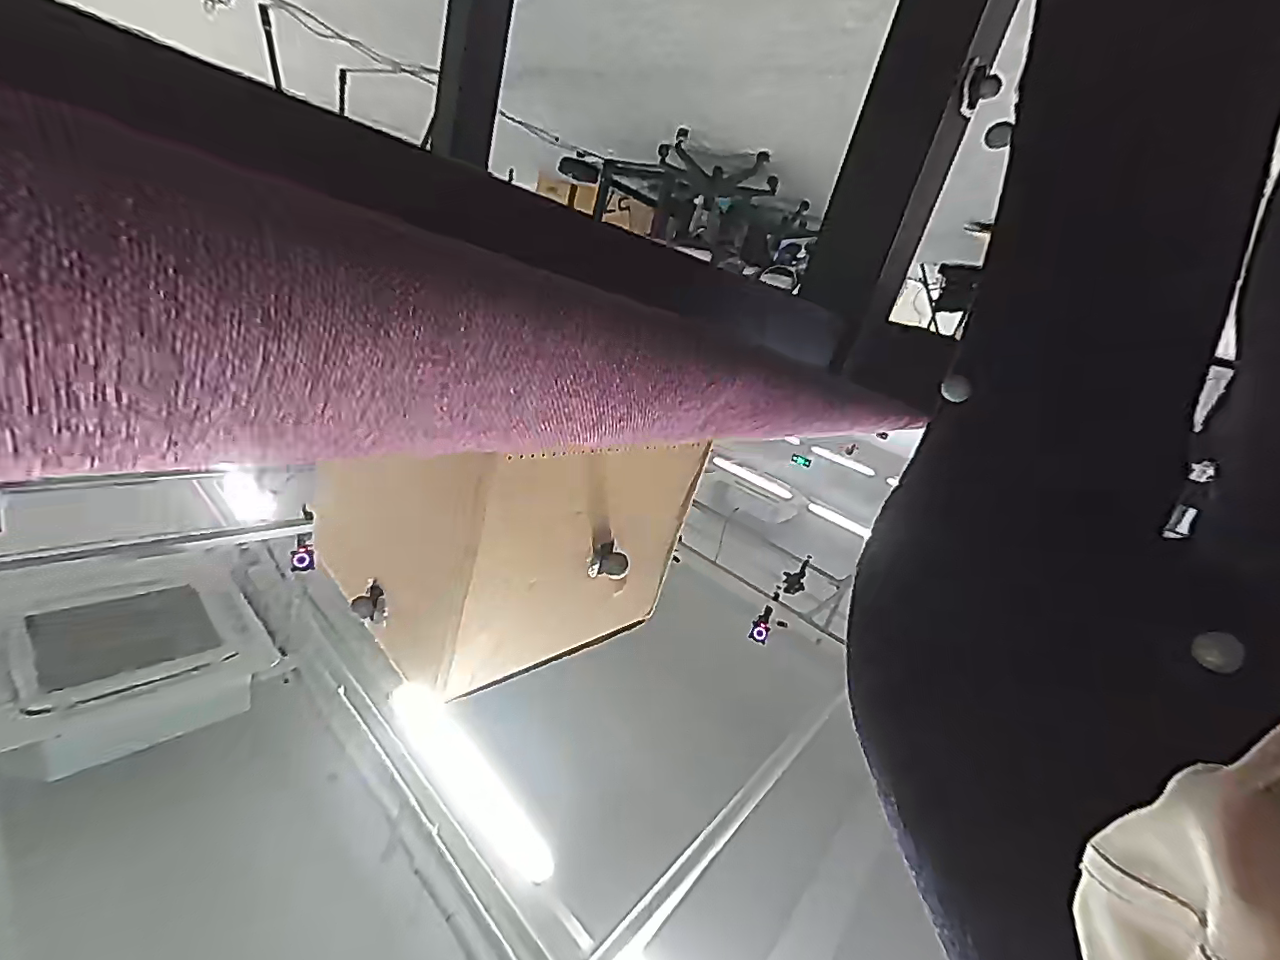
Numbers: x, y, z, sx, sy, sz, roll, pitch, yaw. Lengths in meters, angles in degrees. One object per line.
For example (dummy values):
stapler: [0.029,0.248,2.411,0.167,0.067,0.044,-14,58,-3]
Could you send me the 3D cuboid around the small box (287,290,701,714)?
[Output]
small box: [-0.089,-0.002,0.337,0.168,0.176,0.179,32,-156,34]
